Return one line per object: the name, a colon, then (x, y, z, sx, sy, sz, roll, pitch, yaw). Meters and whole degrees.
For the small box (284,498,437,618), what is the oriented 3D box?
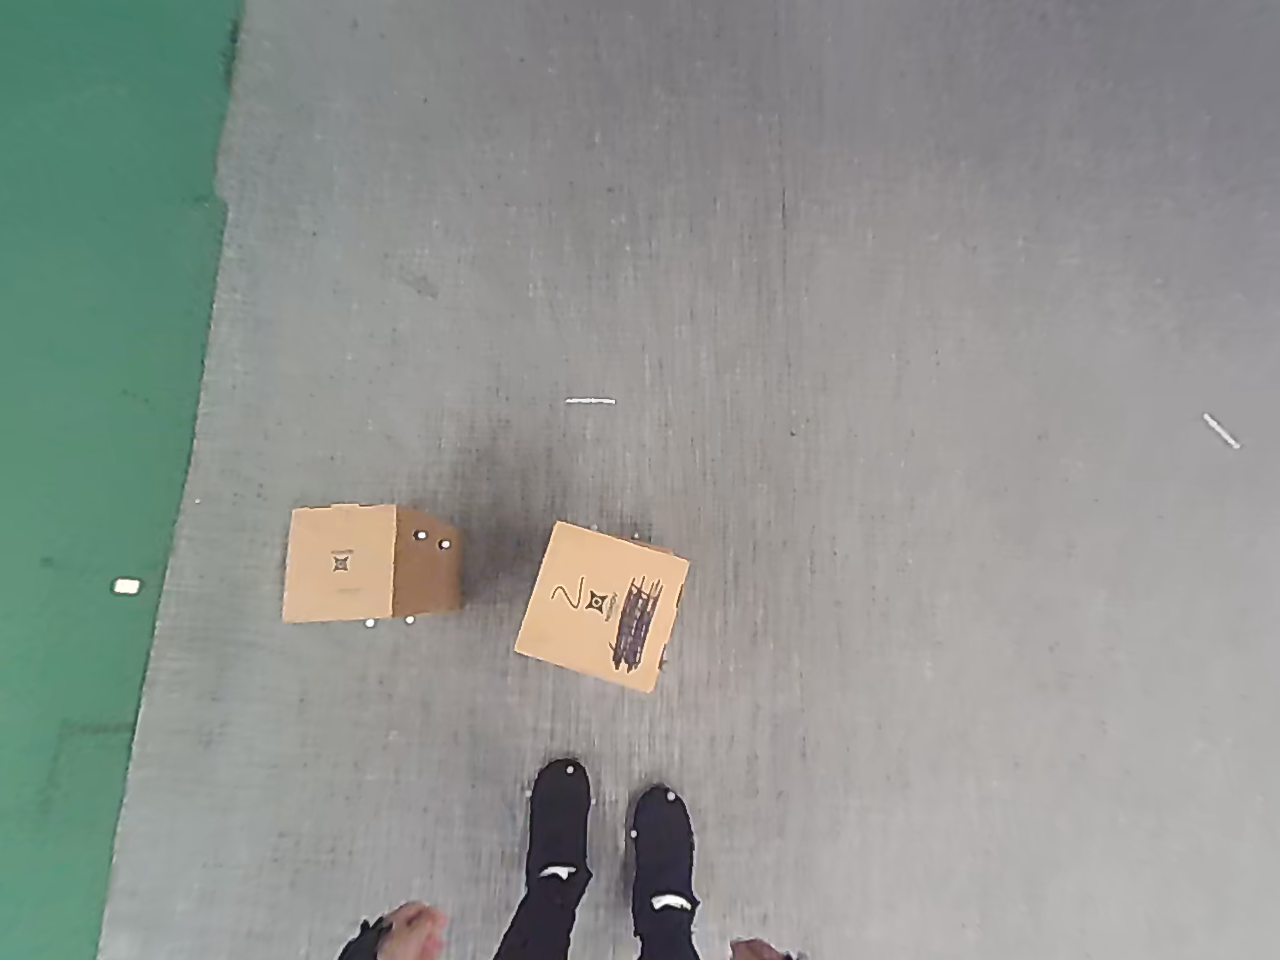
small box: (-0.448, 0.132, 0.894, 0.168, 0.176, 0.179, -3, 79, 0)

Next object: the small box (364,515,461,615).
small box: (-0.456, 0.168, 1.051, 0.168, 0.176, 0.179, -3, 79, -1)

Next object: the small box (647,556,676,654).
small box: (-0.031, 0.223, 1.046, 0.168, 0.176, 0.179, 11, 80, 2)

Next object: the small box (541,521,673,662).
small box: (-0.047, 0.179, 0.889, 0.168, 0.176, 0.179, 15, 80, 3)
